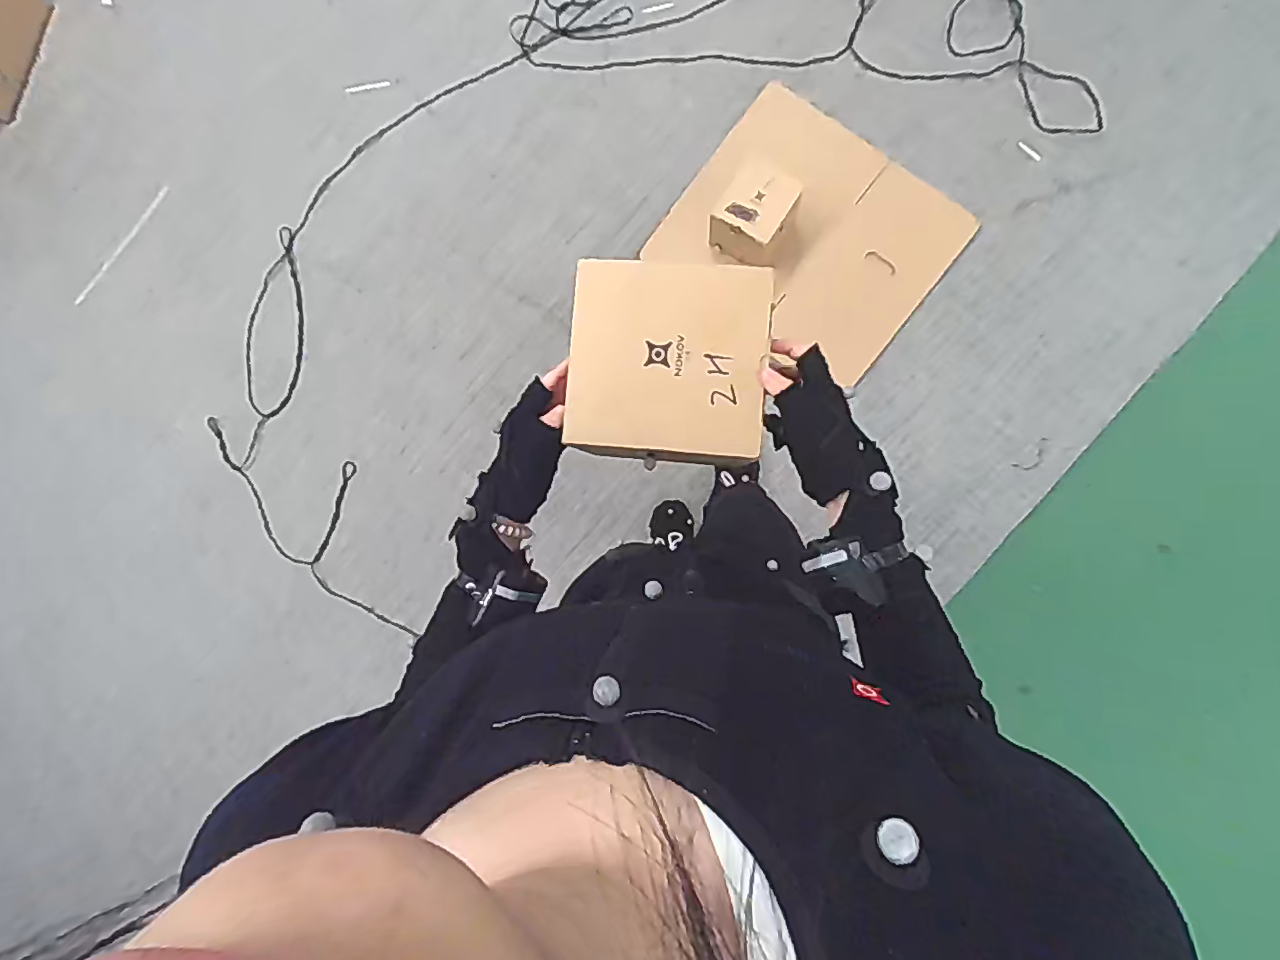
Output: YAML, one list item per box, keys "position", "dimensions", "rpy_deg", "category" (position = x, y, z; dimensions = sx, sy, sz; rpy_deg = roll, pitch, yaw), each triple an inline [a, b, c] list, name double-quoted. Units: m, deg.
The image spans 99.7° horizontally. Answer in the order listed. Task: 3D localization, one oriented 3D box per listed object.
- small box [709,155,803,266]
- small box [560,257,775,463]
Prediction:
- position: [0.292, -0.677, 1.392]
  dimensions: [0.168, 0.176, 0.179]
  rpy_deg: [33, 91, 7]
  category: "small box"
- position: [0.030, -0.107, 0.547]
  dimensions: [0.179, 0.176, 0.168]
  rpy_deg: [5, 90, 5]
  category: "small box"
